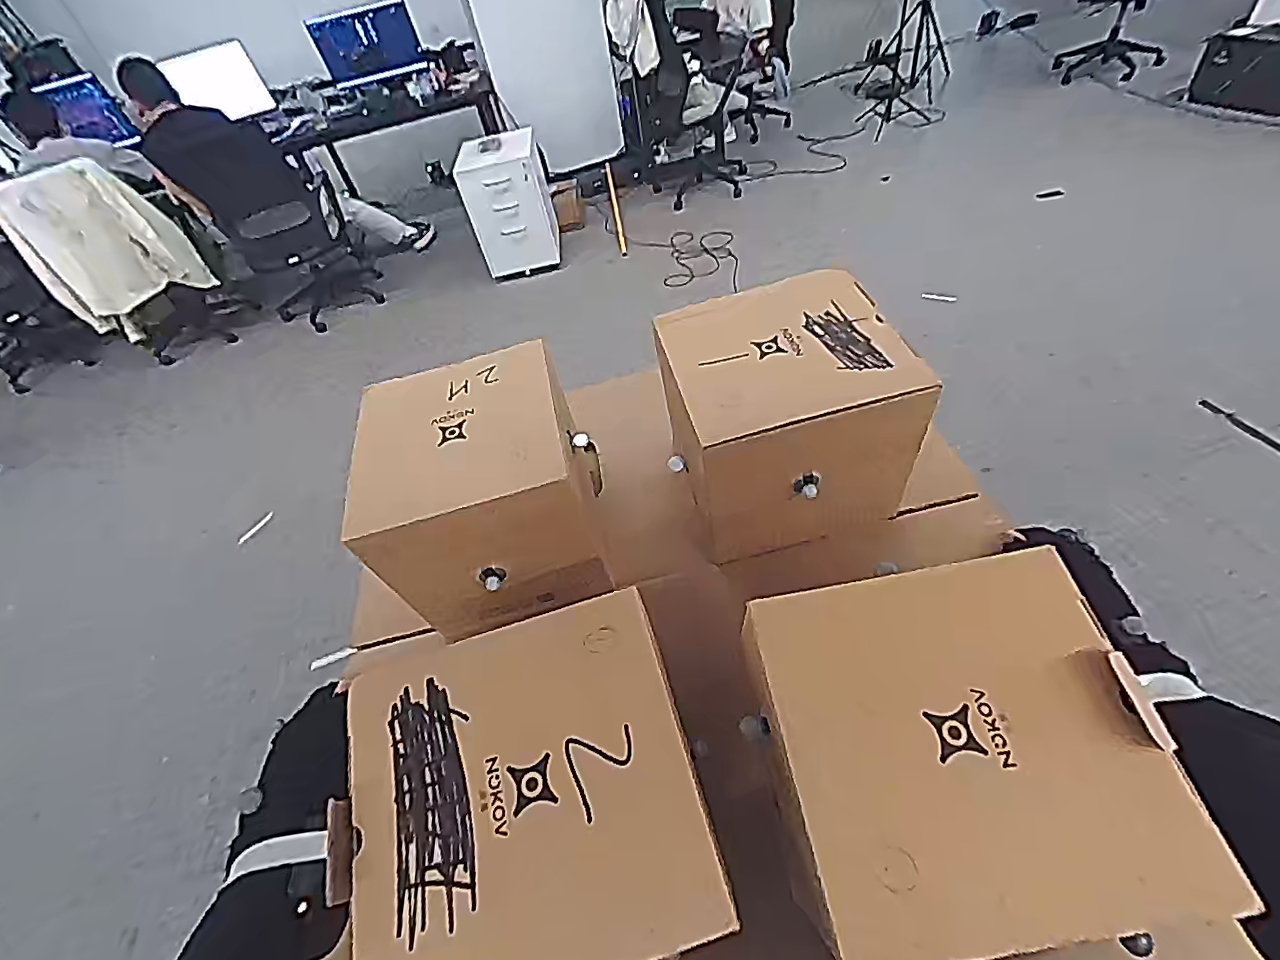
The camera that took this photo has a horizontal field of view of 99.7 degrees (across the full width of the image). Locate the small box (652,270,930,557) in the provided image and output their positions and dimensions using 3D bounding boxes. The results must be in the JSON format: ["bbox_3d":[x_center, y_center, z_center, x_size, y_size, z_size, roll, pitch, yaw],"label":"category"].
[{"bbox_3d":[0.121,-0.054,0.491,0.179,0.176,0.168,-15,50,1],"label":"small box"}]

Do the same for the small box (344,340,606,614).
[{"bbox_3d":[-0.135,0.006,0.498,0.168,0.176,0.179,-15,50,0],"label":"small box"}]
